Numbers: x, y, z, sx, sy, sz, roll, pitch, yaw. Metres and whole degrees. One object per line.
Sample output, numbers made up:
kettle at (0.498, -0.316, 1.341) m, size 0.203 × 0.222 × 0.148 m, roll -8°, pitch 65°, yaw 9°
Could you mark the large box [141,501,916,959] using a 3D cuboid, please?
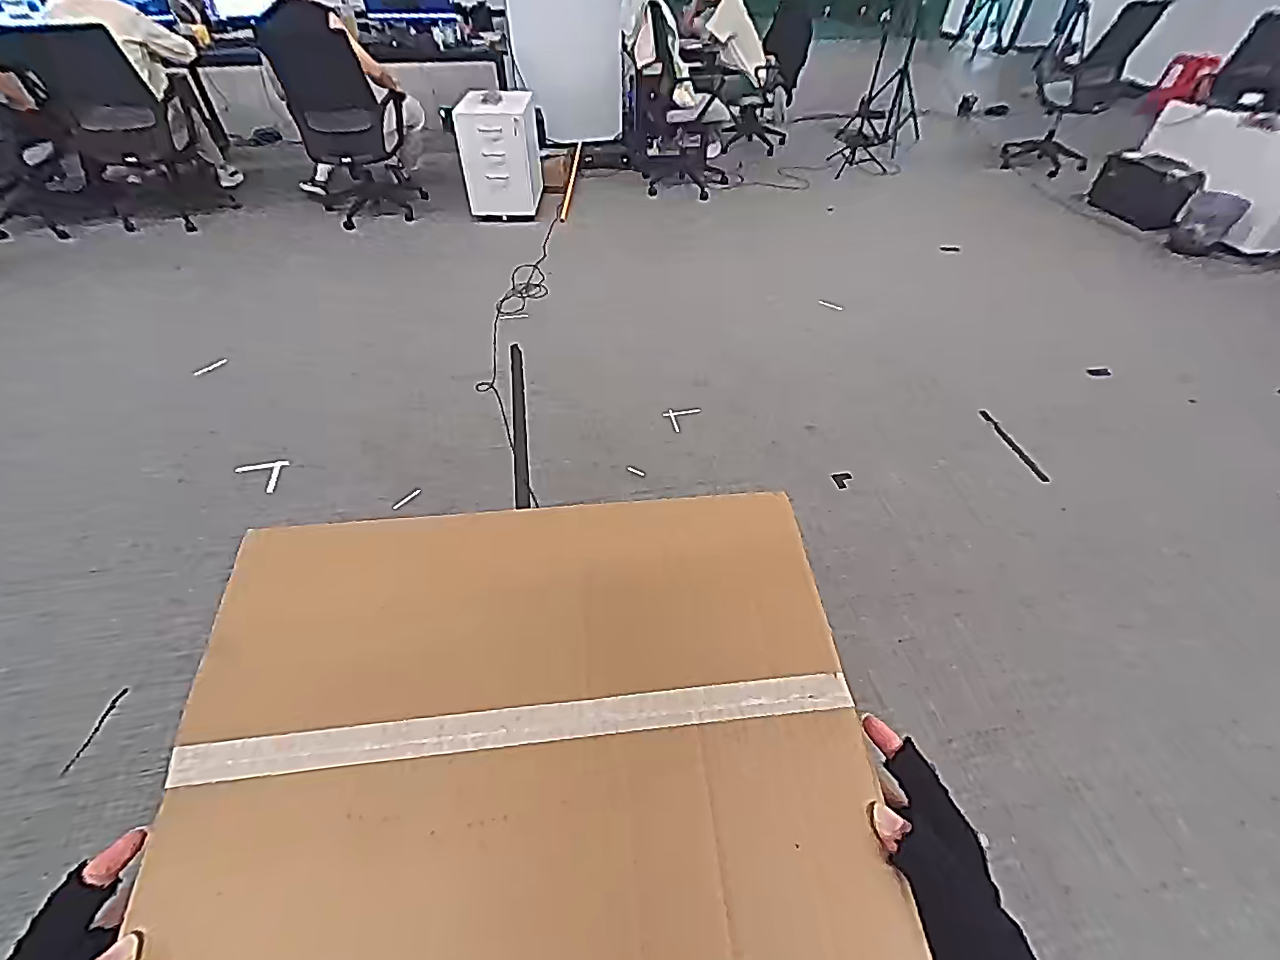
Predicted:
large box at (-0.074, 0.243, 0.464) m, size 0.408 × 0.320 × 0.320 m, roll -4°, pitch 57°, yaw -6°
